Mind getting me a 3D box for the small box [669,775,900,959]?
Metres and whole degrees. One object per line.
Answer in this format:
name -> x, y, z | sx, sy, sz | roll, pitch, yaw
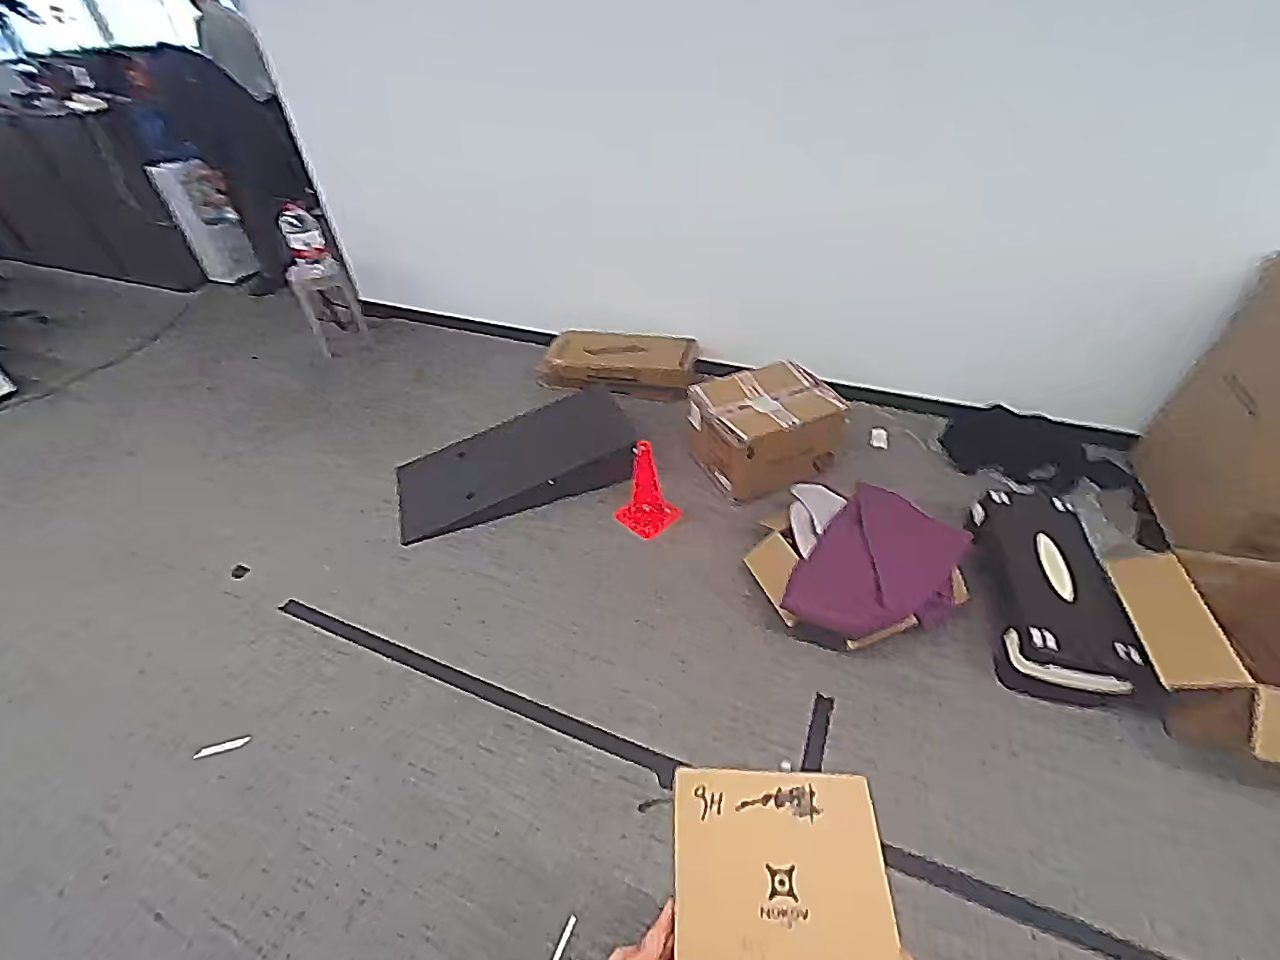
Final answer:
small box -> 0.110, 0.372, 0.469 | 0.168, 0.176, 0.179 | 1, 51, 3
